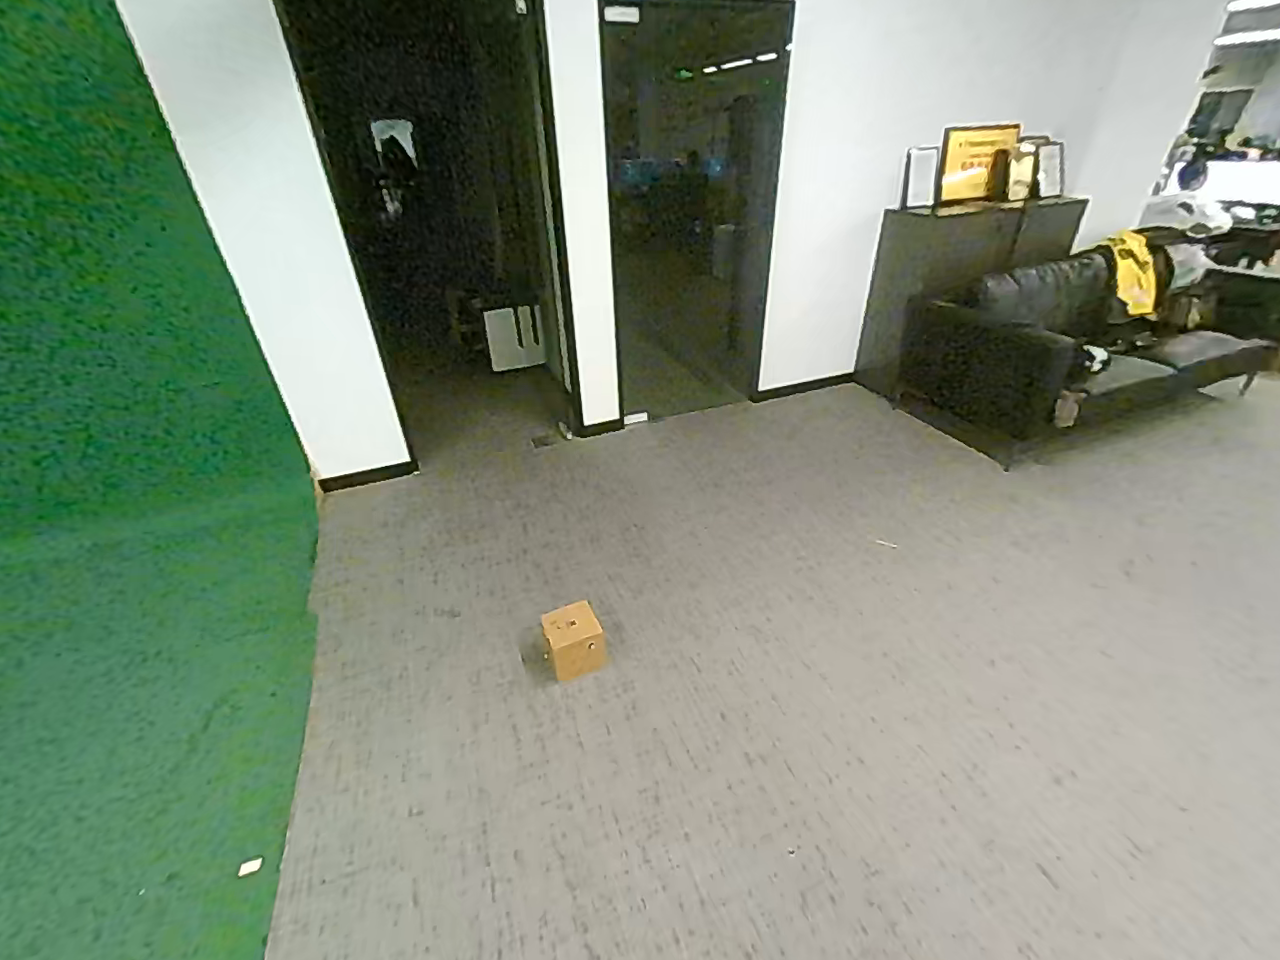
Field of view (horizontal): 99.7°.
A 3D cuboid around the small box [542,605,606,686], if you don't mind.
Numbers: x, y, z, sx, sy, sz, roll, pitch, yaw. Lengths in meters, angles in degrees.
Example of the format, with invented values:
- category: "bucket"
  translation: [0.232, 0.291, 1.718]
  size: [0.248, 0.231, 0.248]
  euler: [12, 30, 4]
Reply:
- category: "small box"
  translation: [-0.222, 0.564, 1.842]
  size: [0.179, 0.176, 0.168]
  euler: [-16, 35, -20]
